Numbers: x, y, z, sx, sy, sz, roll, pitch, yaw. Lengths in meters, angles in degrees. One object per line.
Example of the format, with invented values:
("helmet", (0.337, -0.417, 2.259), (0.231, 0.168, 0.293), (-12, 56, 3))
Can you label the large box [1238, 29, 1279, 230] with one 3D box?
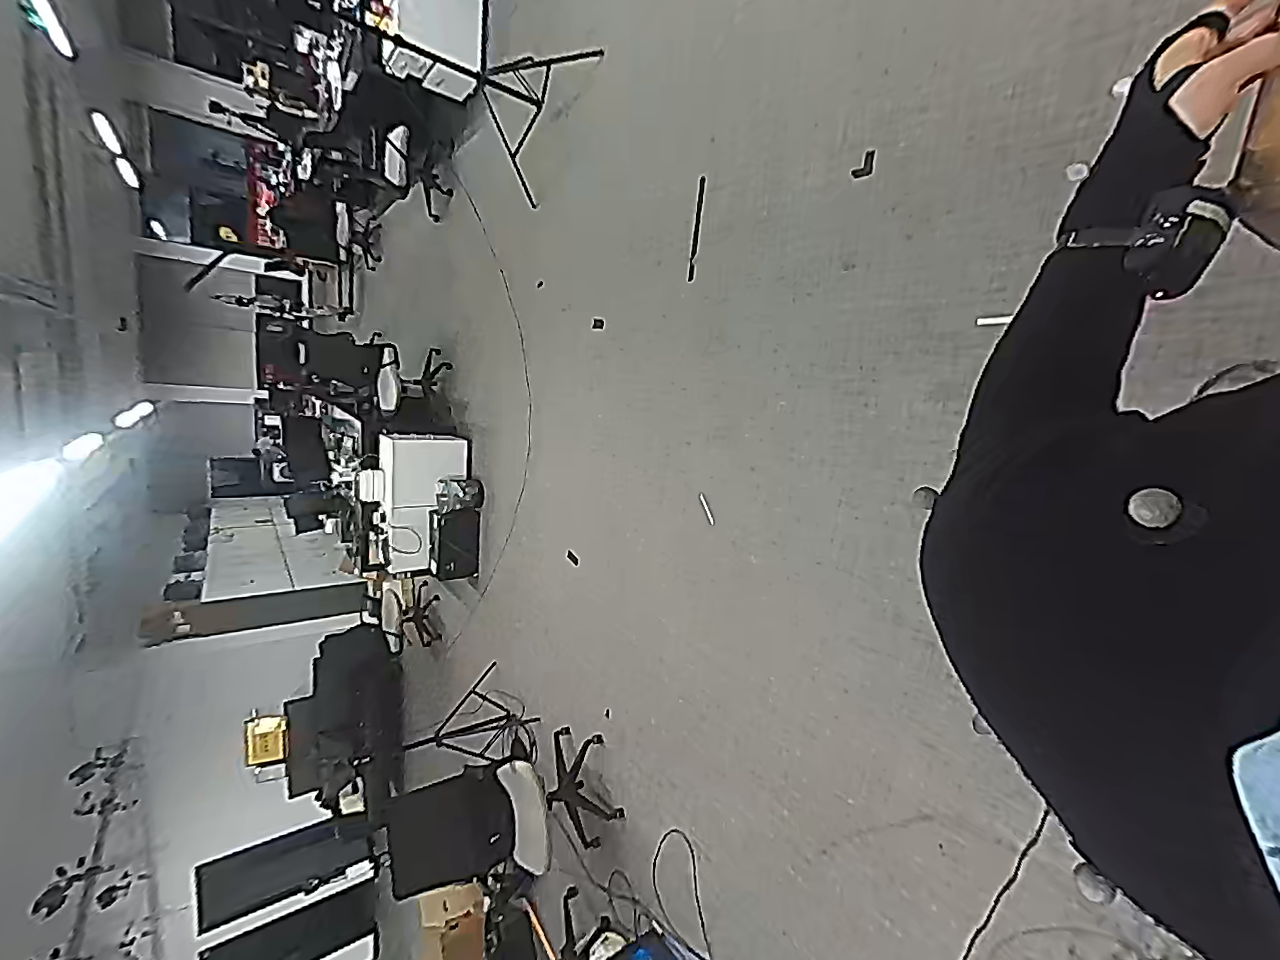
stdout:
("large box", (0.680, -0.329, 0.289), (0.408, 0.320, 0.320), (20, 113, 53))
